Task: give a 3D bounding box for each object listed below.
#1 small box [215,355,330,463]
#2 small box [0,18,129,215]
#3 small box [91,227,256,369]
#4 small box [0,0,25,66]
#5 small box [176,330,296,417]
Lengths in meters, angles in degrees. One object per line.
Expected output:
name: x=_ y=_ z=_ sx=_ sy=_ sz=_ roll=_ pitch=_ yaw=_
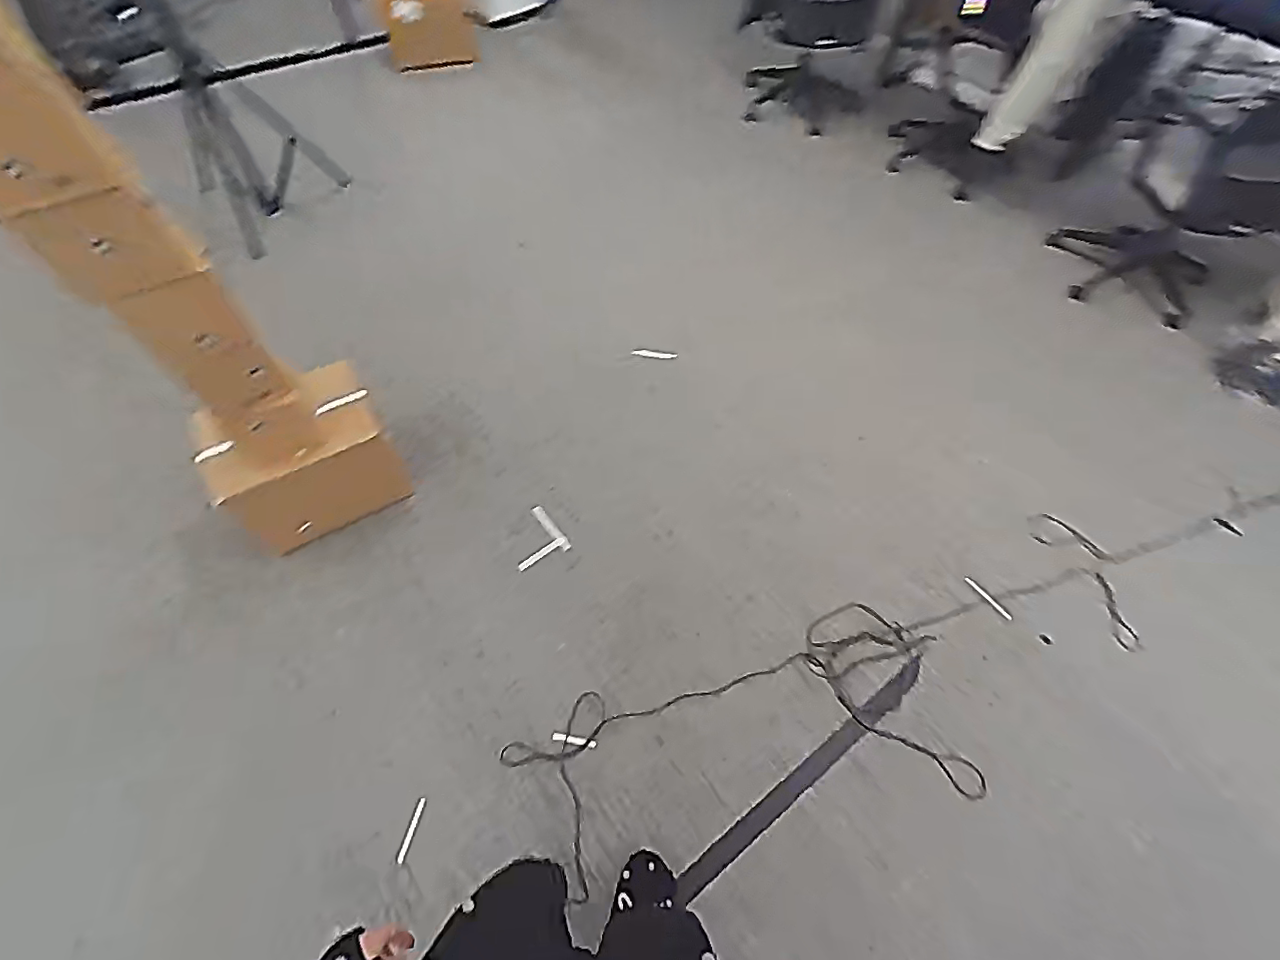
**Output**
small box: x=-0.898 y=-0.168 z=1.322 sx=0.179 sy=0.176 sz=0.168 roll=-23 pitch=63 yaw=-17
small box: x=-0.890 y=-0.514 z=0.768 sx=0.168 sy=0.176 sz=0.179 roll=-30 pitch=65 yaw=-20
small box: x=-0.889 y=-0.350 z=1.052 sx=0.179 sy=0.176 sz=0.168 roll=-32 pitch=65 yaw=-22
small box: x=-0.884 y=-0.597 z=0.626 sx=0.179 sy=0.176 sz=0.168 roll=-26 pitch=63 yaw=-17
small box: x=-0.904 y=-0.263 z=1.189 sx=0.168 sy=0.176 sz=0.179 roll=-38 pitch=66 yaw=-24
